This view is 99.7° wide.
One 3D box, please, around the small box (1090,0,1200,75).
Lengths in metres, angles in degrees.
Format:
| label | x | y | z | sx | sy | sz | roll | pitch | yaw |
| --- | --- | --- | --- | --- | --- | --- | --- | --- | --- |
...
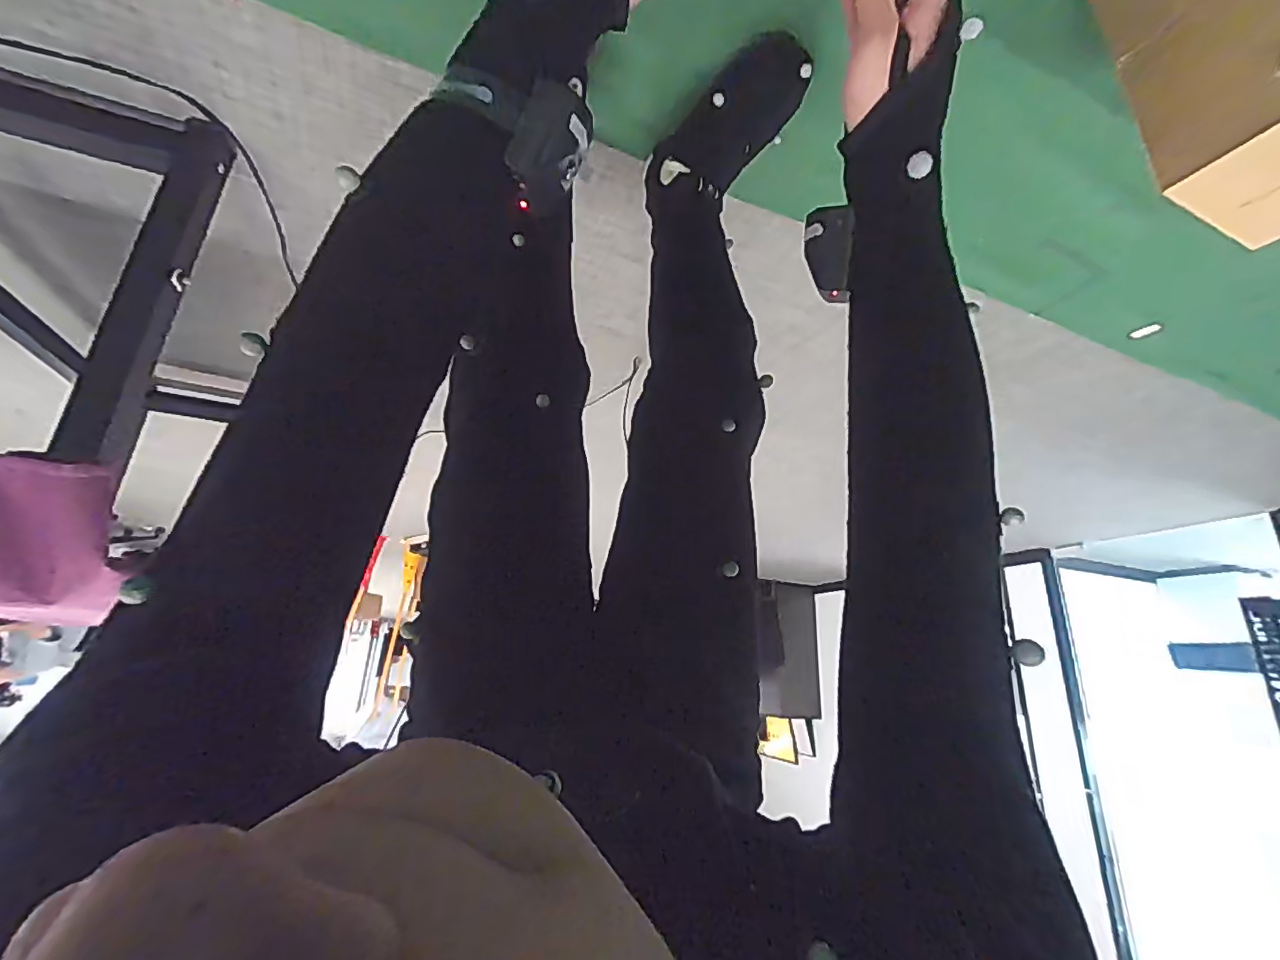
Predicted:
| label | x | y | z | sx | sy | sz | roll | pitch | yaw |
| --- | --- | --- | --- | --- | --- | --- | --- | --- | --- |
| small box | 0.591 | -0.511 | 0.536 | 0.168 | 0.176 | 0.179 | 10 | 159 | -22 |

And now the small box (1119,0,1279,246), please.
| label | x | y | z | sx | sy | sz | roll | pitch | yaw |
| --- | --- | --- | --- | --- | --- | --- | --- | --- | --- |
| small box | 0.588 | -0.356 | 0.481 | 0.168 | 0.176 | 0.179 | 10 | 159 | -22 |
